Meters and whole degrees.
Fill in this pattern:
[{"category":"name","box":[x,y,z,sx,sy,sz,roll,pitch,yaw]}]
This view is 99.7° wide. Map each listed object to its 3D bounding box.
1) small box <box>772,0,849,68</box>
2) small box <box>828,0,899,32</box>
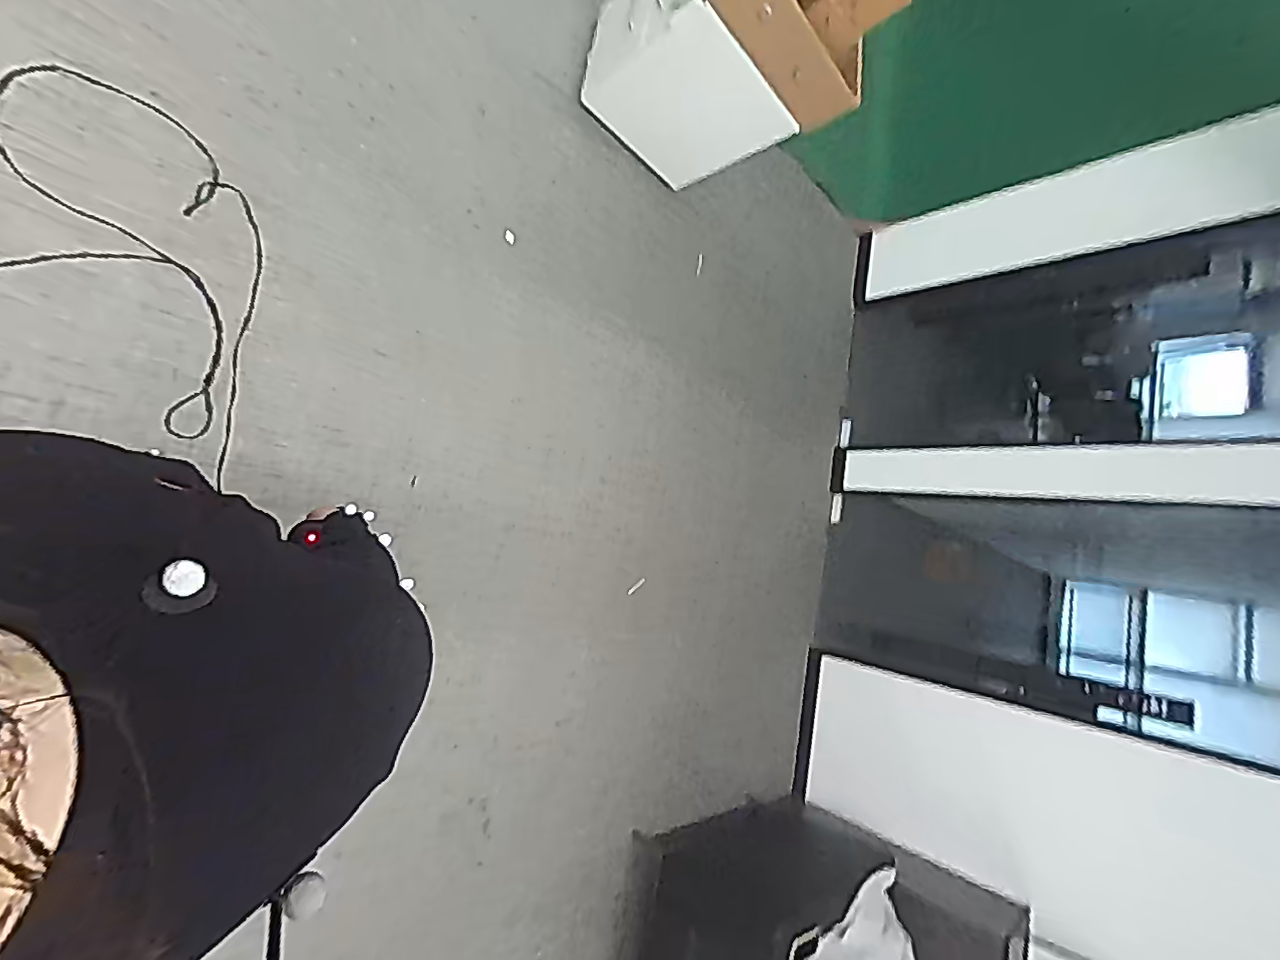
[{"category":"small box","box":[0.513,-1.410,1.626,0.168,0.176,0.179,17,73,-40]},{"category":"small box","box":[0.624,-1.425,1.508,0.168,0.176,0.179,16,76,-42]}]
